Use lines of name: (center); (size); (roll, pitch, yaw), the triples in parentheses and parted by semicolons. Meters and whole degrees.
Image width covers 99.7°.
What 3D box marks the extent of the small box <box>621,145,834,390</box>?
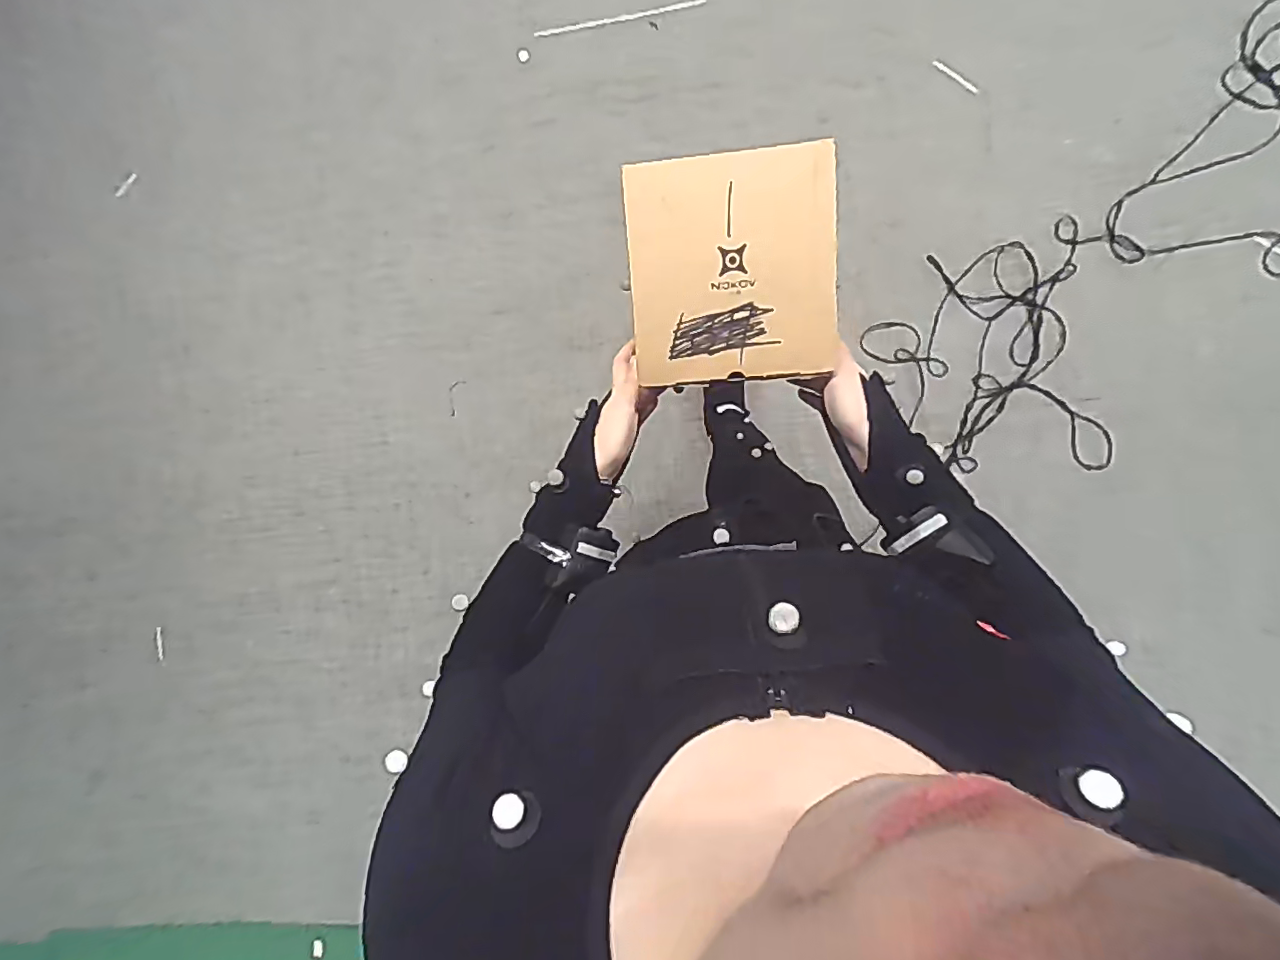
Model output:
small box: (0.078, -0.183, 0.511); (0.168, 0.176, 0.179); (-4, 102, 5)
